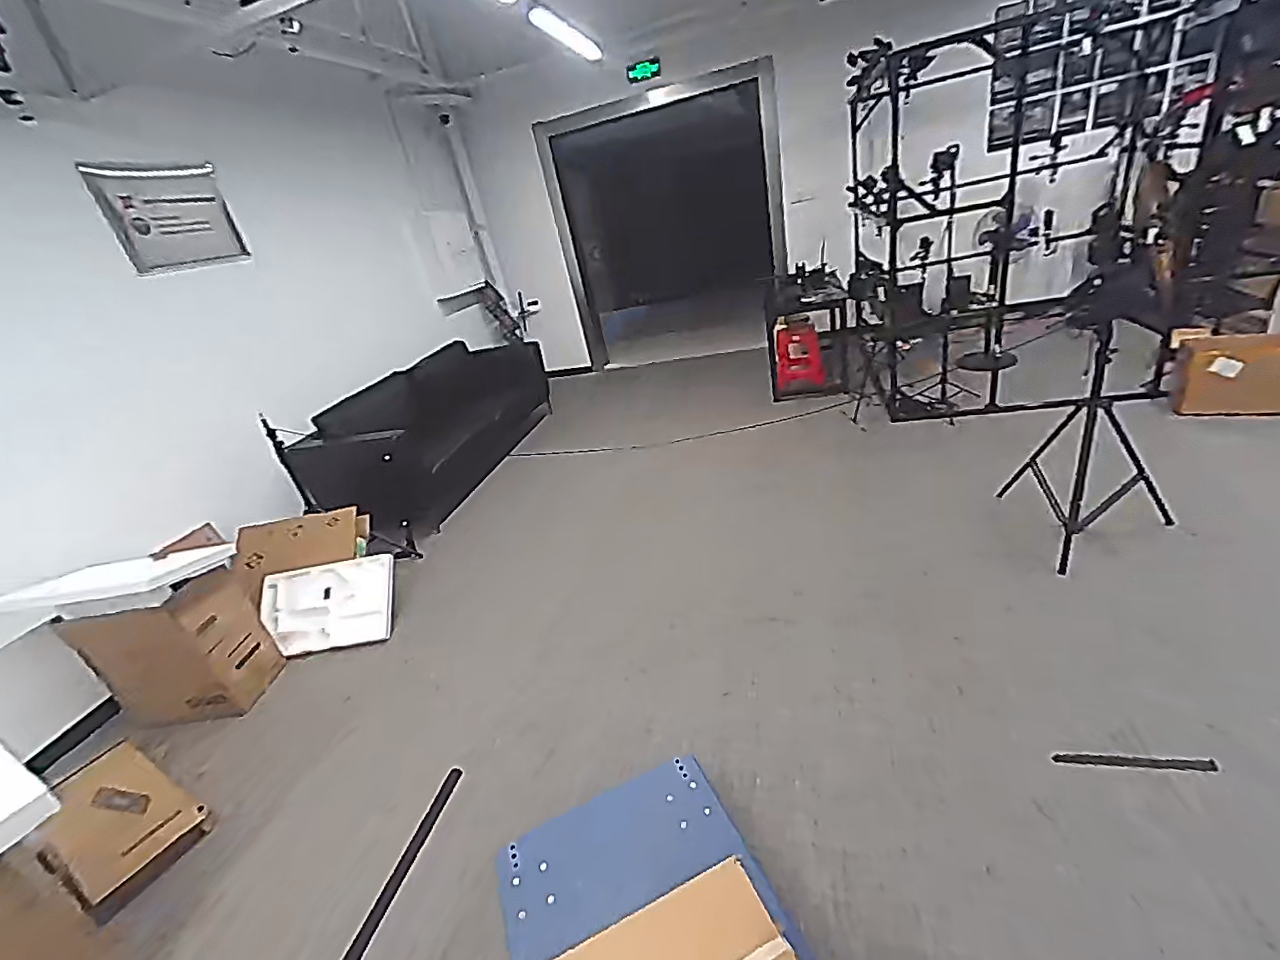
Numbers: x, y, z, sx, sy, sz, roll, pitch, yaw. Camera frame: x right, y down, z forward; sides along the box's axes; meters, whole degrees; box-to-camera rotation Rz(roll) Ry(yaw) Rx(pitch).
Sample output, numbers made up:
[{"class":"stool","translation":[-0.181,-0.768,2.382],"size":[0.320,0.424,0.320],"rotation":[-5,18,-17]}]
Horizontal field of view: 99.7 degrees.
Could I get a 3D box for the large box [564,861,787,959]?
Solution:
[{"class":"large box","translation":[0.073,0.949,0.875],"size":[0.408,0.320,0.320],"rotation":[-19,27,-16]}]
